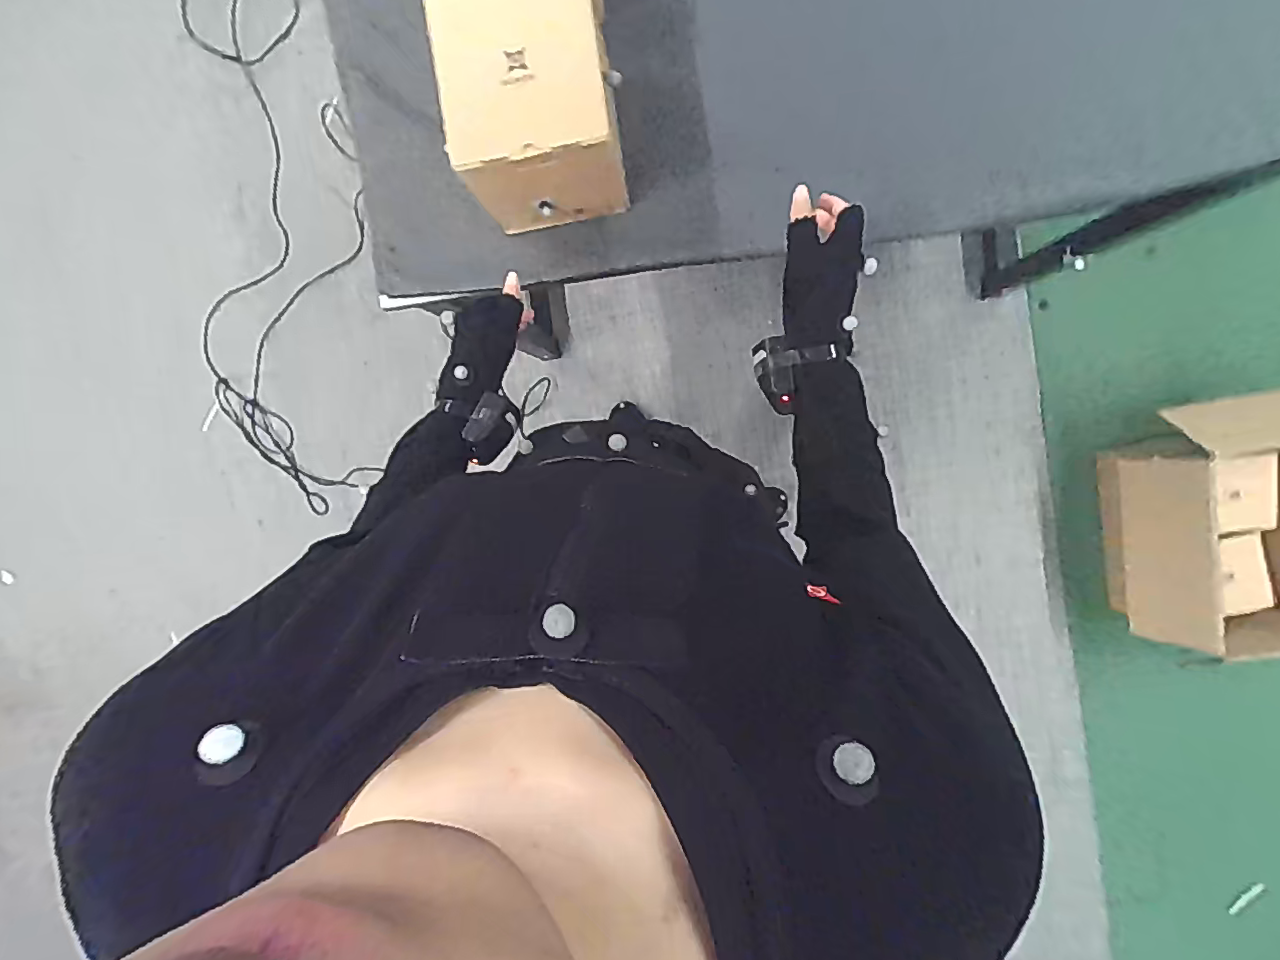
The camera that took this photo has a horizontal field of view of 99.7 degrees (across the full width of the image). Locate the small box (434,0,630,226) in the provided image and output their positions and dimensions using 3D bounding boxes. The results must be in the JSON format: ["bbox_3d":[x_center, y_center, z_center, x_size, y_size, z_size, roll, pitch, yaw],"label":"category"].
[{"bbox_3d":[-0.110,-0.423,0.619,0.168,0.176,0.179,-9,93,6],"label":"small box"}]
